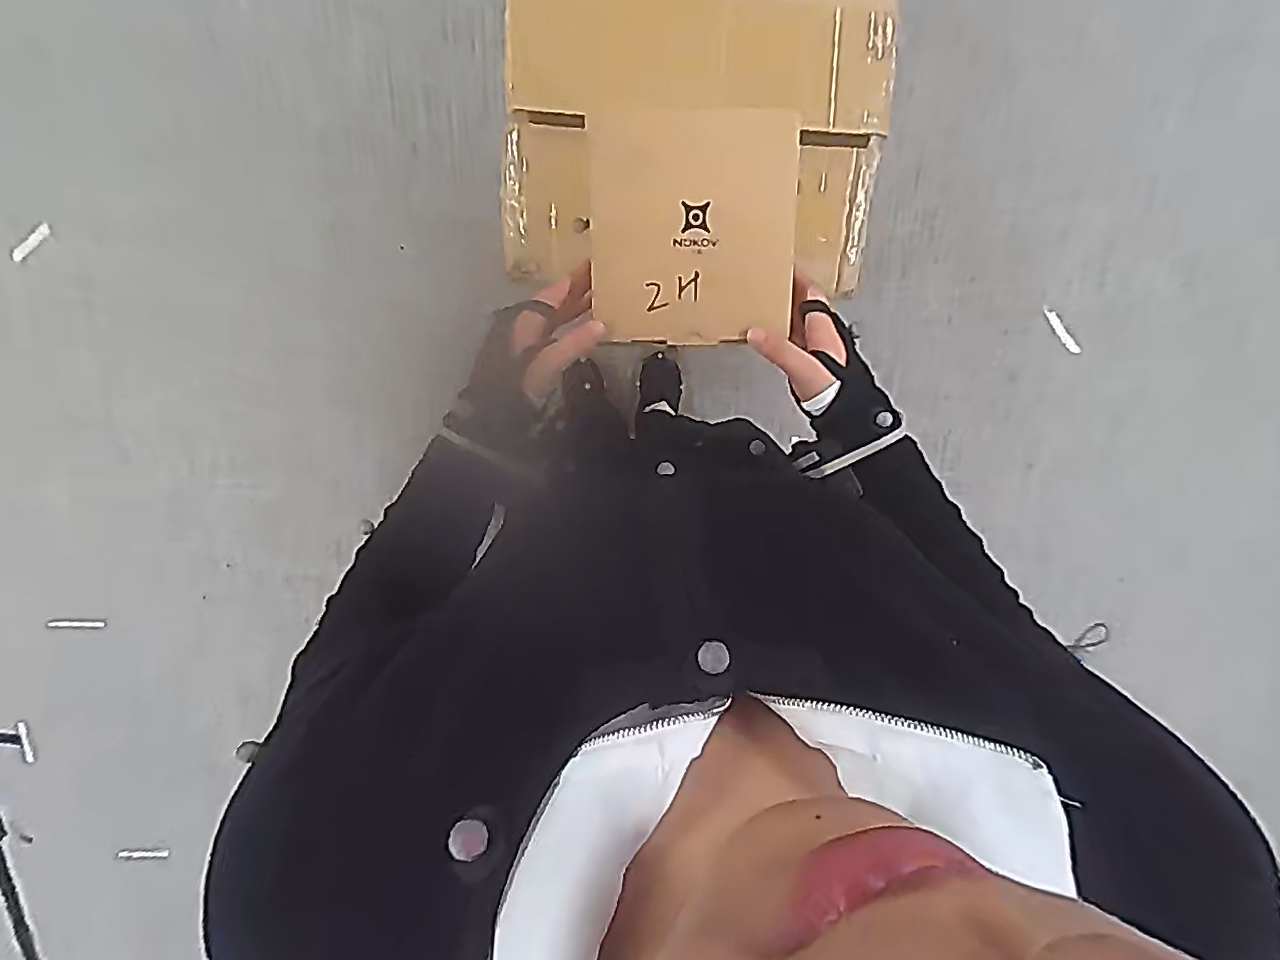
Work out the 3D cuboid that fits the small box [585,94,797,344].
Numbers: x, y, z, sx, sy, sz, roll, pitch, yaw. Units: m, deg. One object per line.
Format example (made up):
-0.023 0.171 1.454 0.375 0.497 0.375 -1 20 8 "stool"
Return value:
0.033 -0.221 0.505 0.168 0.176 0.179 -2 103 -5 "small box"
